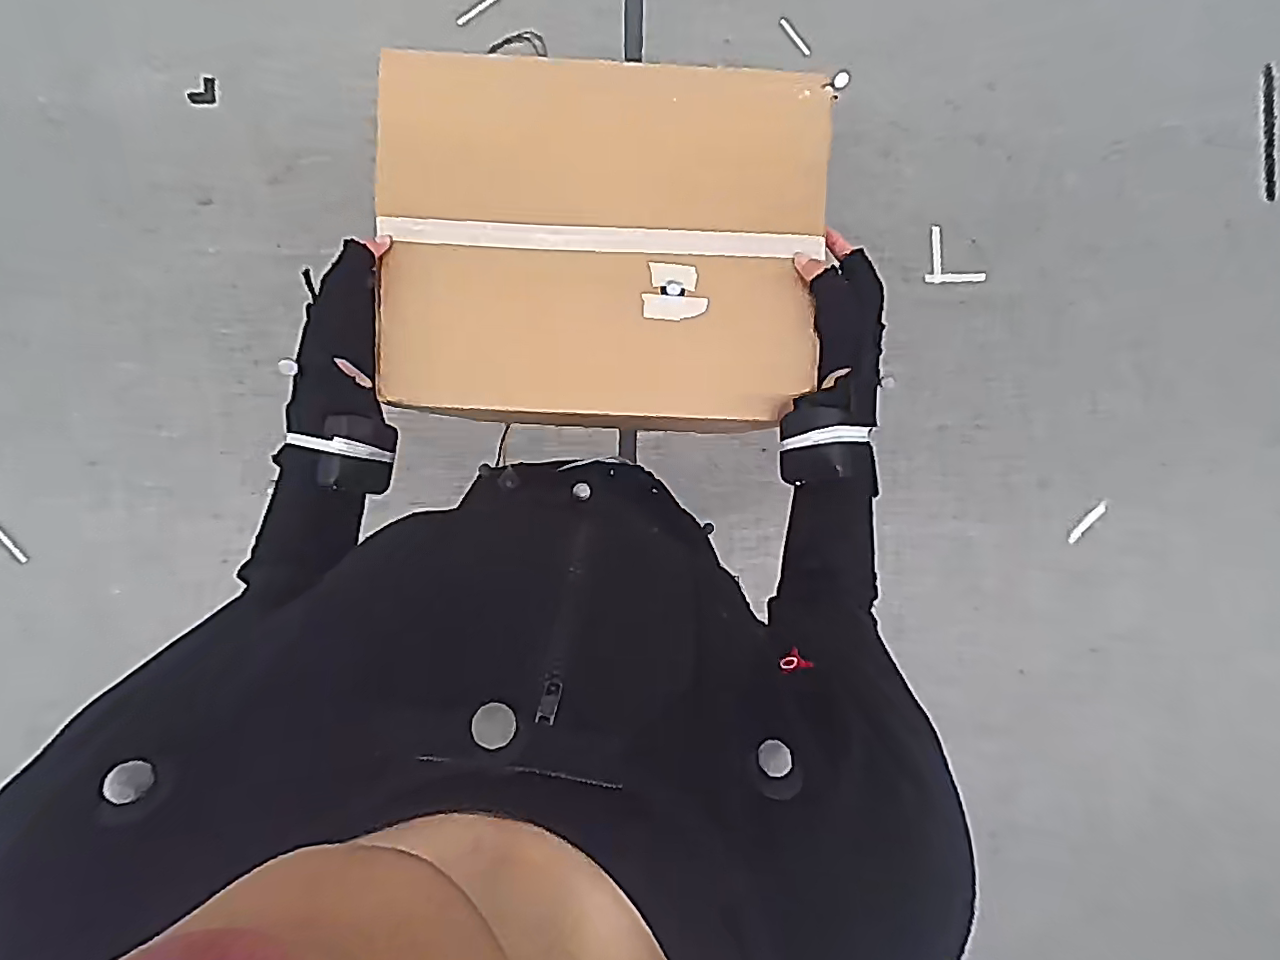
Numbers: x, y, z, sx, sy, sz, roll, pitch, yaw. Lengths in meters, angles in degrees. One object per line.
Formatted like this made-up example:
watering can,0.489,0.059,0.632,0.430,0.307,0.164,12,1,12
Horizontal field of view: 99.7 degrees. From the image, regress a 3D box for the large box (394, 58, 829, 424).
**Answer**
large box,-0.034,-0.233,0.652,0.408,0.320,0.320,3,95,-2
